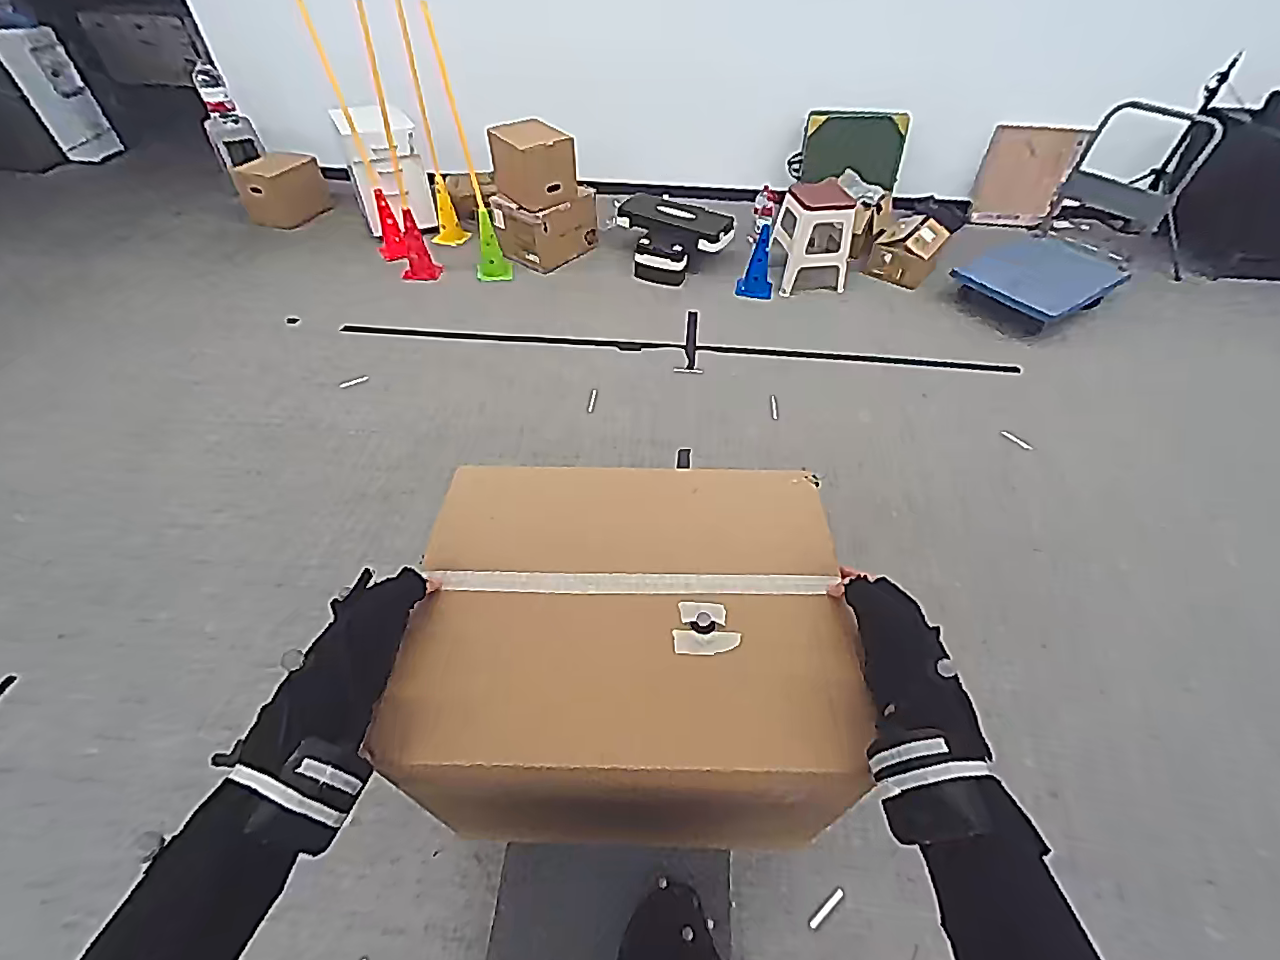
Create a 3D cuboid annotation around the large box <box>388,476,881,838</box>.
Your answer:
[{"bbox_3d":[-0.005,0.209,0.638,0.408,0.320,0.320,1,47,1],"label":"large box"}]
